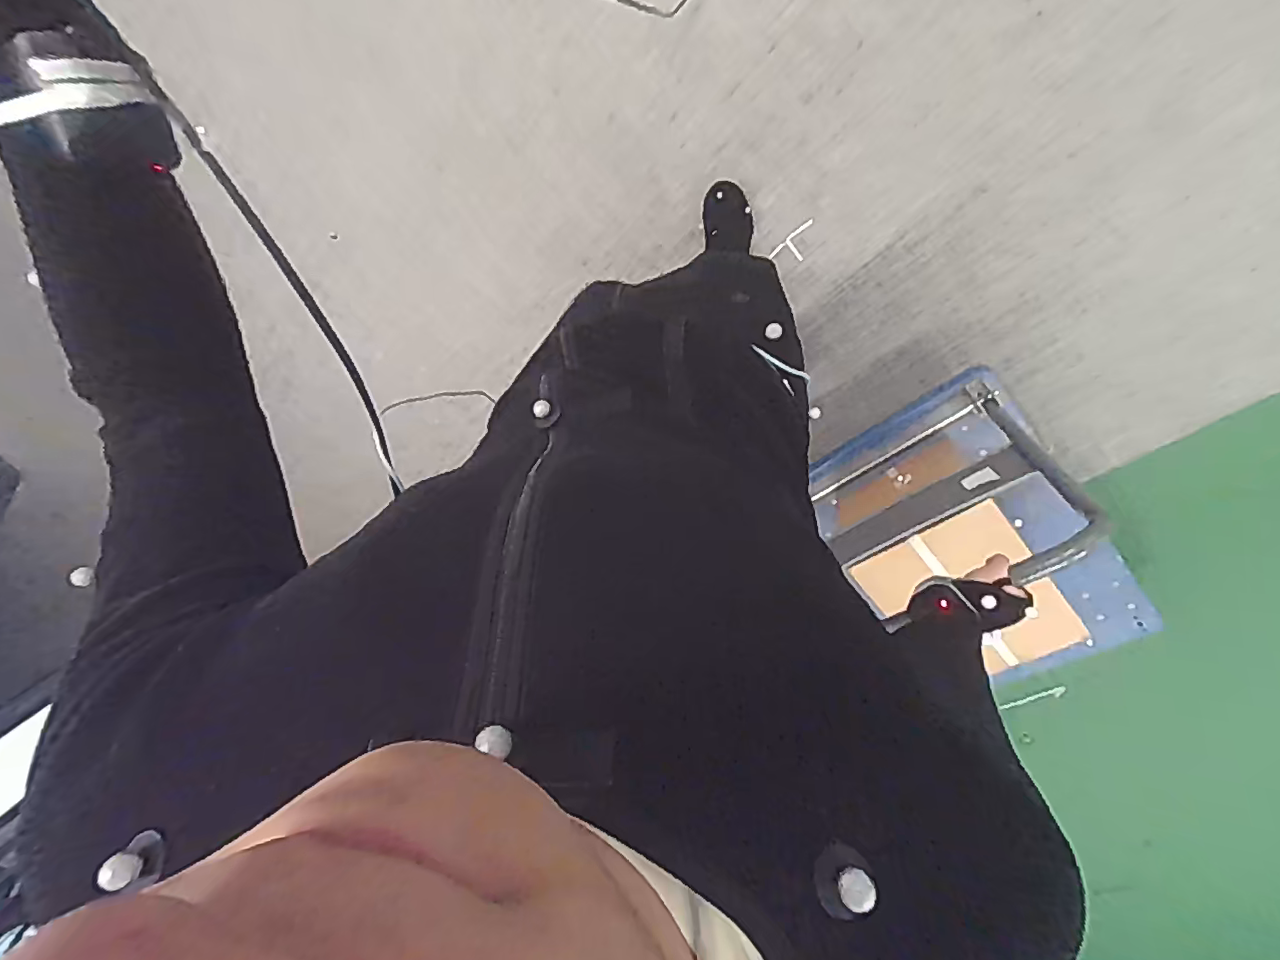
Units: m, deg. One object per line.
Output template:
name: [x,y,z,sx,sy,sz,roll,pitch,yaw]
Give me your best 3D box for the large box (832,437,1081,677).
large box: [0.714,0.175,1.285,0.320,0.320,0.408,-36,103,28]
